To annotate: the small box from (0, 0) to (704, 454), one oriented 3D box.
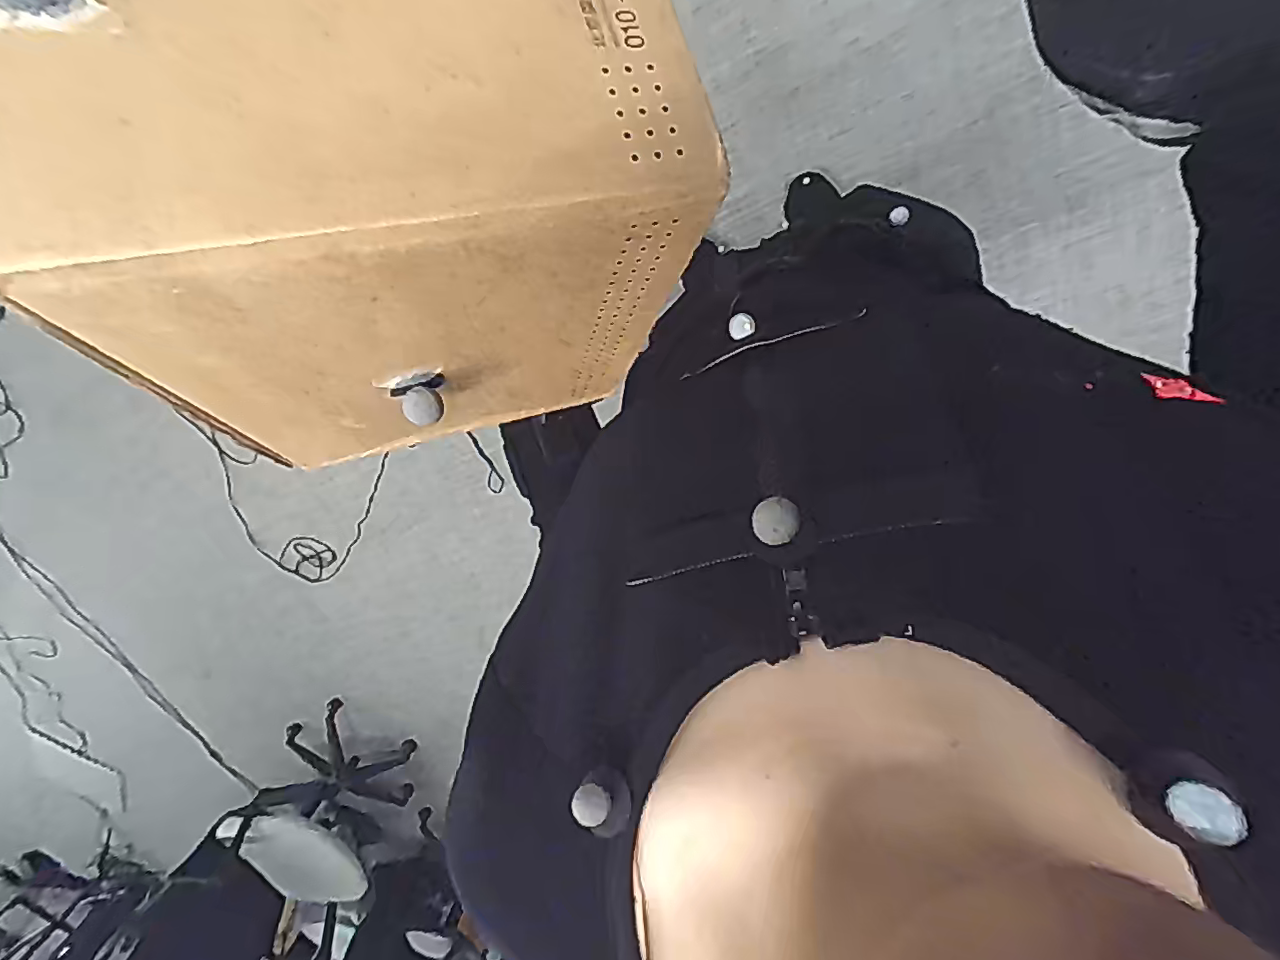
[{"bbox_3d":[-0.092,-0.125,0.223,0.176,0.179,0.168,-17,83,-16],"label":"small box"}]
